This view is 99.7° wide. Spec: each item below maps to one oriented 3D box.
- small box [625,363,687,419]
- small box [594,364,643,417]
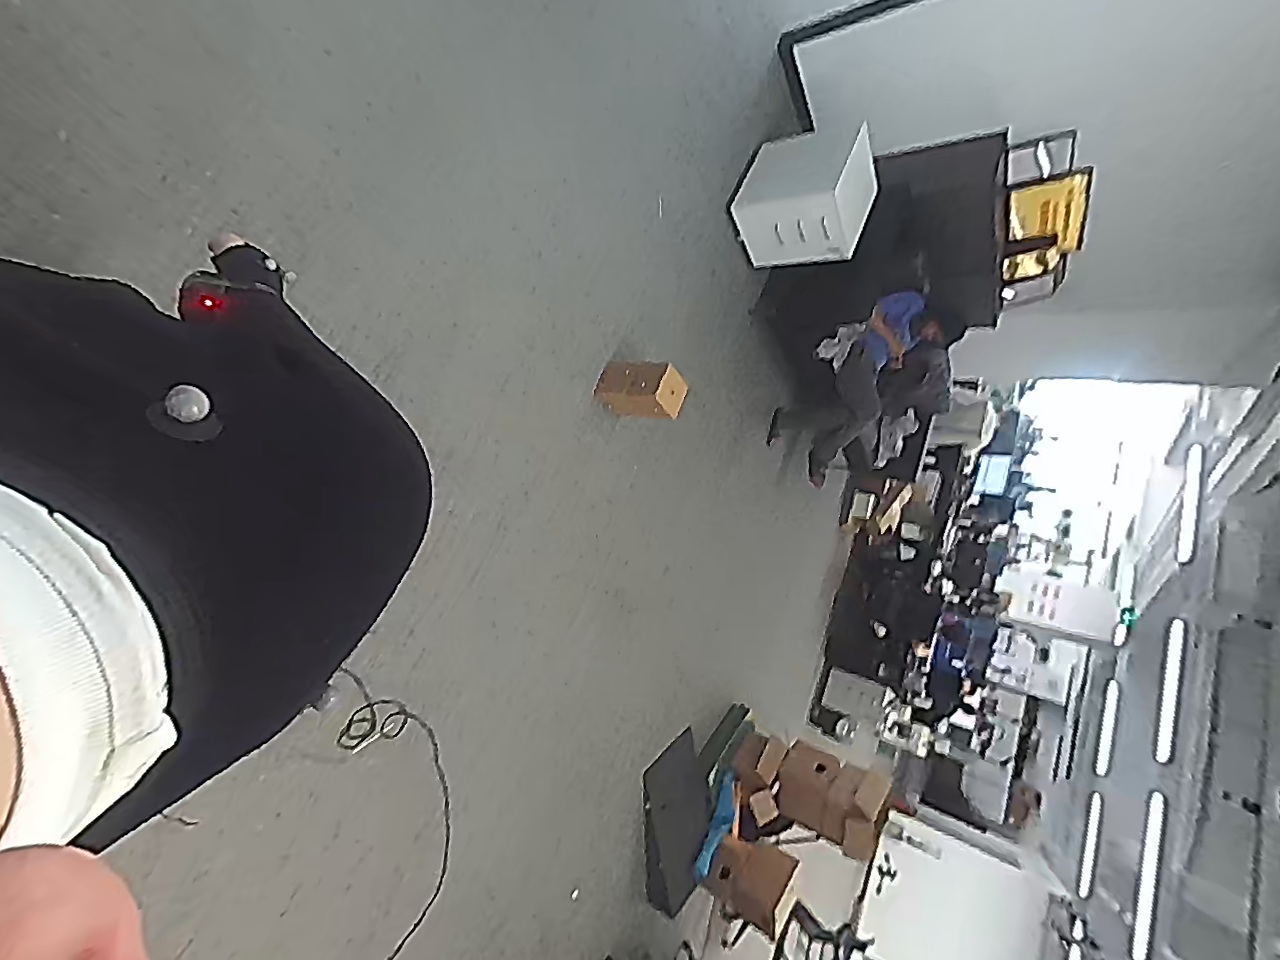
[{"bbox_3d":[0.064,-0.370,2.245,0.179,0.176,0.168,41,66,-50],"label":"small box"},{"bbox_3d":[-0.065,-0.392,2.341,0.179,0.176,0.168,44,63,-48],"label":"small box"}]
